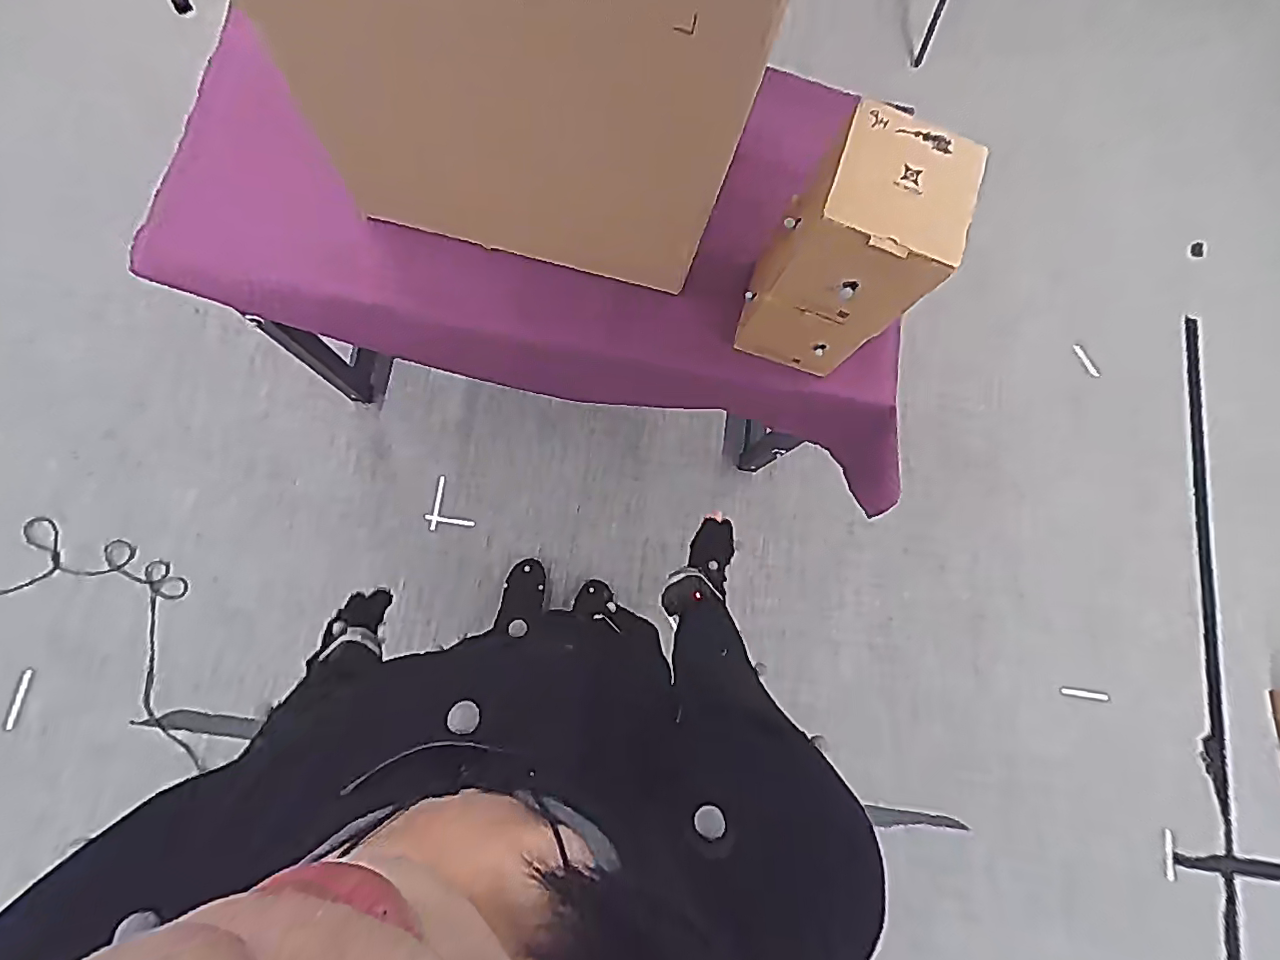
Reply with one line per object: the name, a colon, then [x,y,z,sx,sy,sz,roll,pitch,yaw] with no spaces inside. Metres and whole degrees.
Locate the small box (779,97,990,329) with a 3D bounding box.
small box: [0.296,-0.322,0.689,0.168,0.176,0.179,21,78,-2]

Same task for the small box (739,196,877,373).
small box: [0.268,-0.292,0.847,0.168,0.176,0.179,18,77,-4]
